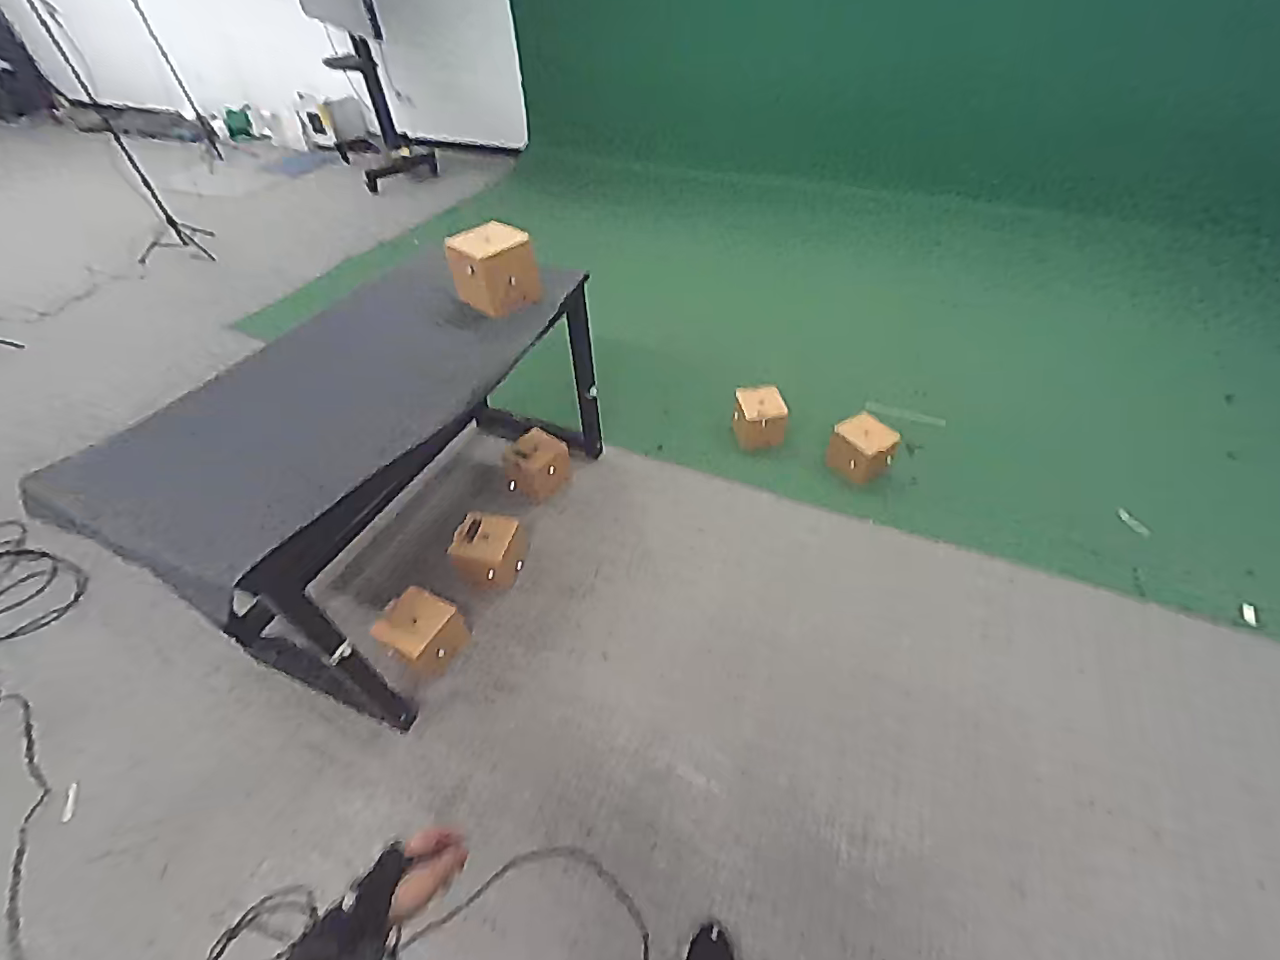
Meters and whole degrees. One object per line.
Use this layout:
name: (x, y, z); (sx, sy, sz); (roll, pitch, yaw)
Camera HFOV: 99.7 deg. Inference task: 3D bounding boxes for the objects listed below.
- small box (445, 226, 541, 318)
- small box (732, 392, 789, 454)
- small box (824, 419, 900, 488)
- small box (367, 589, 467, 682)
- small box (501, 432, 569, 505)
small box: (-0.391, -0.559, 1.463); (0.179, 0.176, 0.168); (33, 55, 32)
small box: (0.468, -0.224, 2.134); (0.168, 0.176, 0.179); (-7, 46, -5)
small box: (0.814, -0.090, 1.994); (0.168, 0.176, 0.179); (-24, 49, -21)
small box: (-0.619, 0.444, 1.526); (0.179, 0.176, 0.168); (20, 50, 20)
small box: (-0.377, -0.041, 1.979); (0.168, 0.176, 0.179); (28, 51, 25)
